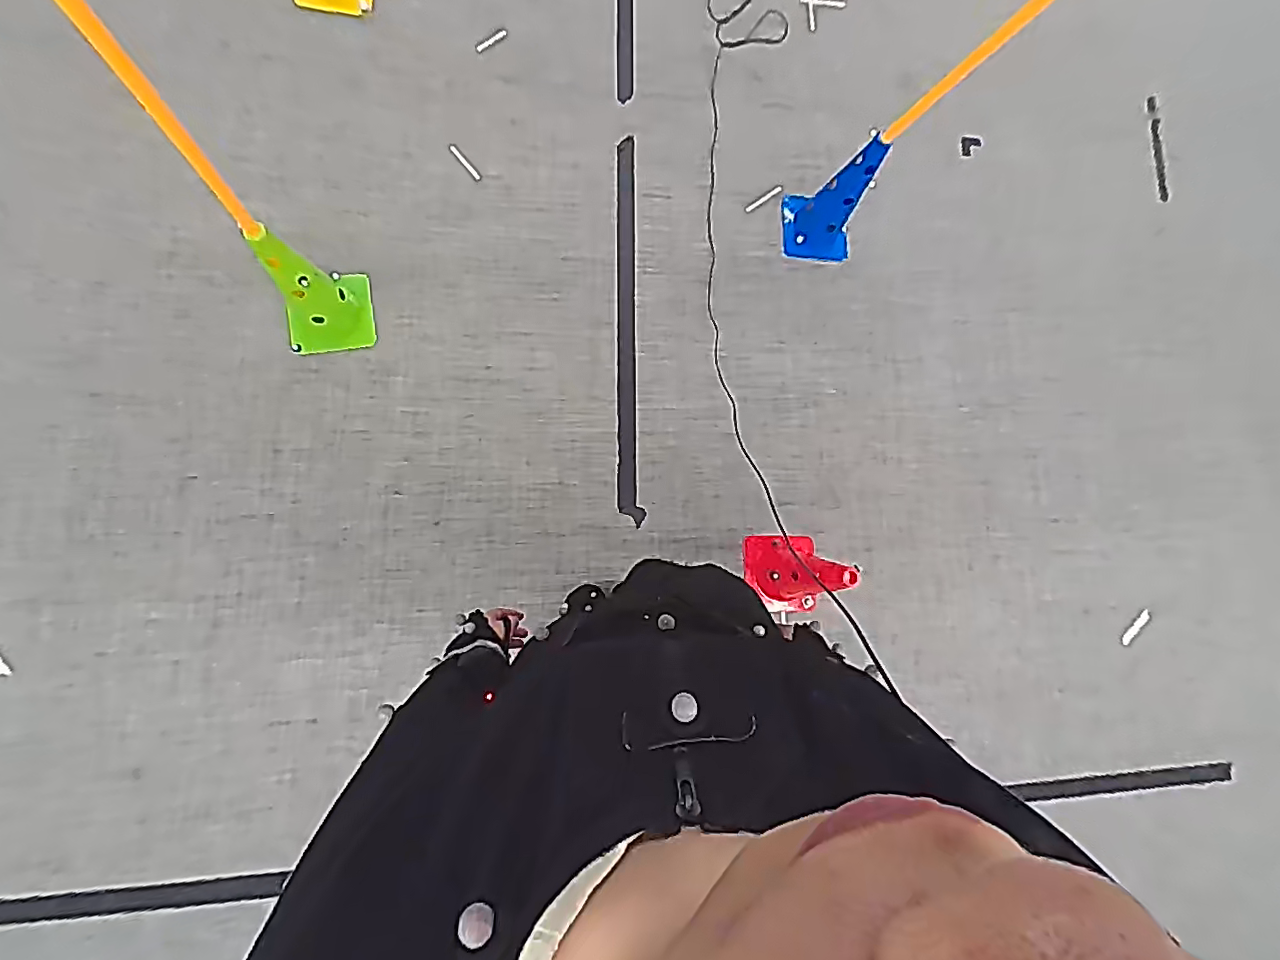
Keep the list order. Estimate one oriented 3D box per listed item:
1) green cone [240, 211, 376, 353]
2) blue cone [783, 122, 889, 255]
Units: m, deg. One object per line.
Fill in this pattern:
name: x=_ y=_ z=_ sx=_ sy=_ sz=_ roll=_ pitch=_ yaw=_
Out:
green cone: x=-0.754 y=-0.454 z=1.195 sx=0.200 sy=0.368 sz=0.202 roll=-10 pitch=81 yaw=-10
blue cone: x=0.544 y=-0.788 z=1.450 sx=0.193 sy=0.380 sz=0.192 roll=3 pitch=80 yaw=-8
